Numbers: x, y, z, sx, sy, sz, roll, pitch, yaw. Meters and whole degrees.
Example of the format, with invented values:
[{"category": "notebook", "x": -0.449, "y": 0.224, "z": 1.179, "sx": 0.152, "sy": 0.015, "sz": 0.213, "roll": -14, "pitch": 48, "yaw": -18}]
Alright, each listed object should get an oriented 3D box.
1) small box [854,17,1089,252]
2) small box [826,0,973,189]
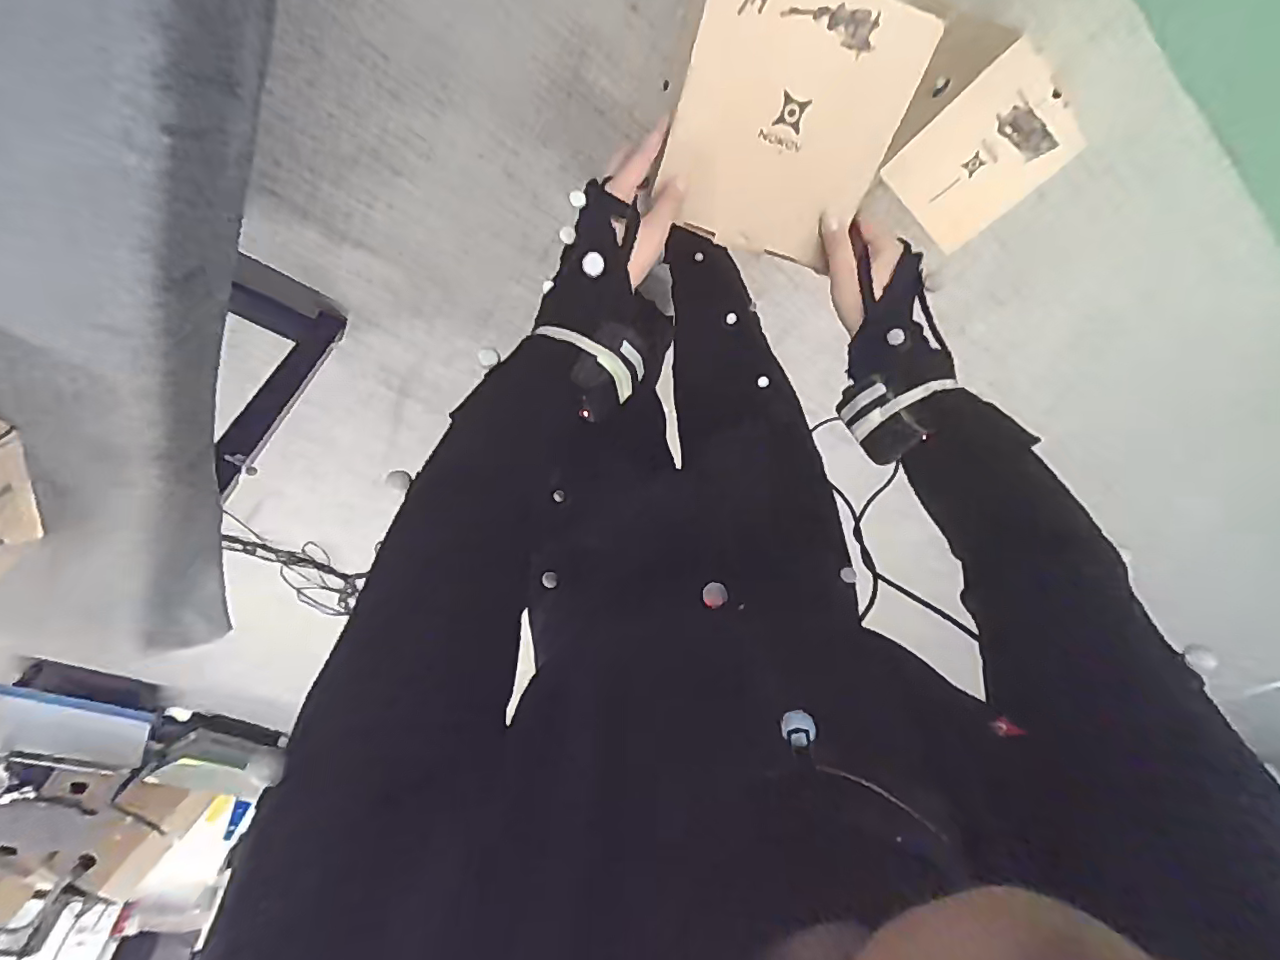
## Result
[{"category": "small box", "x": 0.409, "y": -0.443, "z": 0.695, "sx": 0.168, "sy": 0.176, "sz": 0.179, "roll": 31, "pitch": 129, "yaw": -26}, {"category": "small box", "x": 0.407, "y": -0.566, "z": 0.805, "sx": 0.168, "sy": 0.176, "sz": 0.179, "roll": 31, "pitch": 130, "yaw": -26}]
